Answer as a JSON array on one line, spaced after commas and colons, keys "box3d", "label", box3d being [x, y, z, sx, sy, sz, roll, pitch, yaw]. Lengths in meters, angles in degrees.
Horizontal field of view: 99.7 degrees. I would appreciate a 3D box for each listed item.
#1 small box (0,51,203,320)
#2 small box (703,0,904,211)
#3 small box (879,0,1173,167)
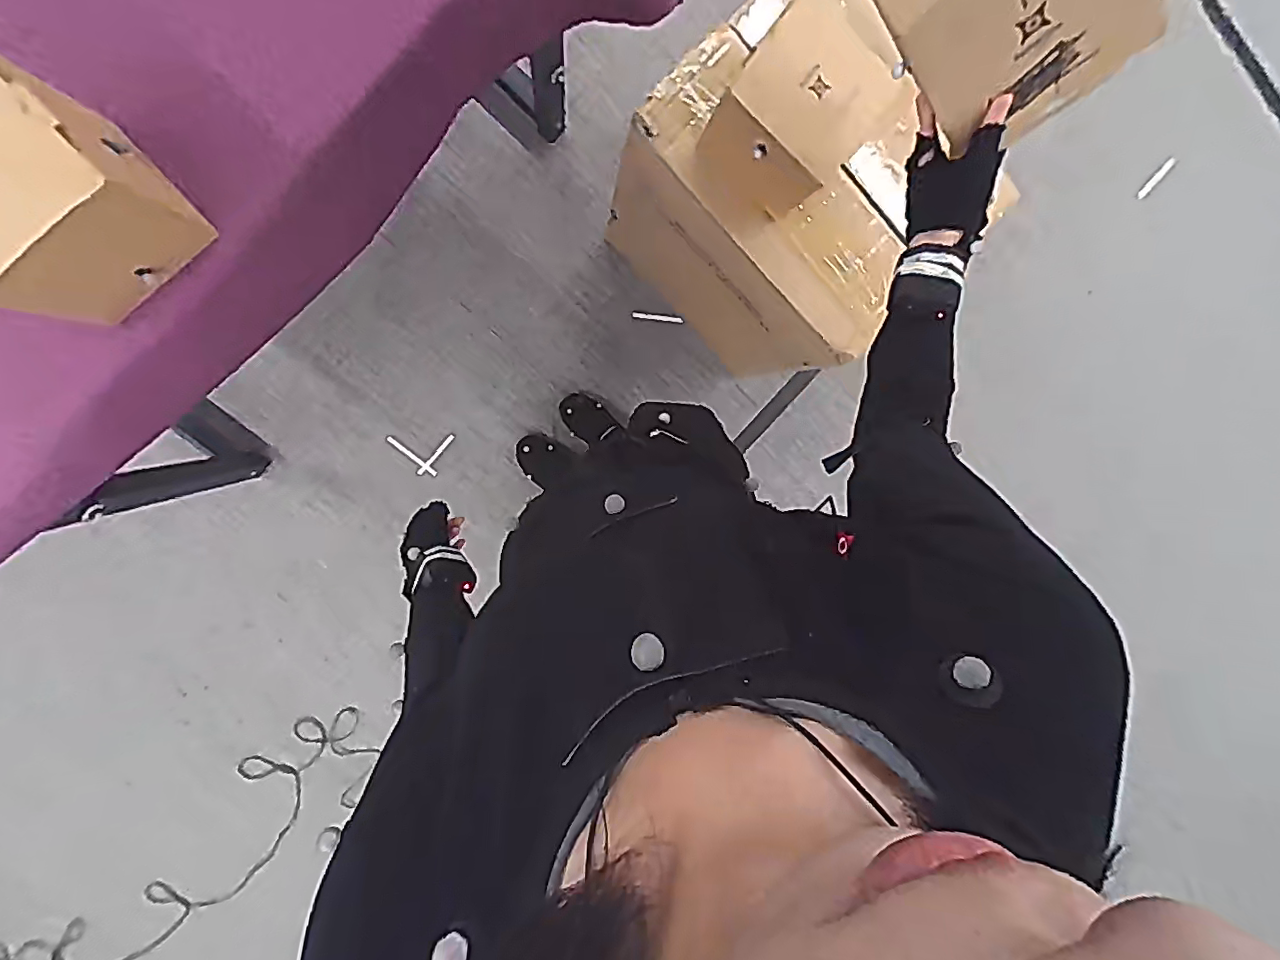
[{"box3d": [-0.619, -0.296, 0.569, 0.179, 0.176, 0.168, -42, 100, -1], "label": "small box"}, {"box3d": [0.213, -0.514, 0.756, 0.179, 0.176, 0.168, 37, 94, -12], "label": "small box"}, {"box3d": [0.332, -0.446, 0.491, 0.179, 0.168, 0.176, 24, 50, -39], "label": "small box"}]
